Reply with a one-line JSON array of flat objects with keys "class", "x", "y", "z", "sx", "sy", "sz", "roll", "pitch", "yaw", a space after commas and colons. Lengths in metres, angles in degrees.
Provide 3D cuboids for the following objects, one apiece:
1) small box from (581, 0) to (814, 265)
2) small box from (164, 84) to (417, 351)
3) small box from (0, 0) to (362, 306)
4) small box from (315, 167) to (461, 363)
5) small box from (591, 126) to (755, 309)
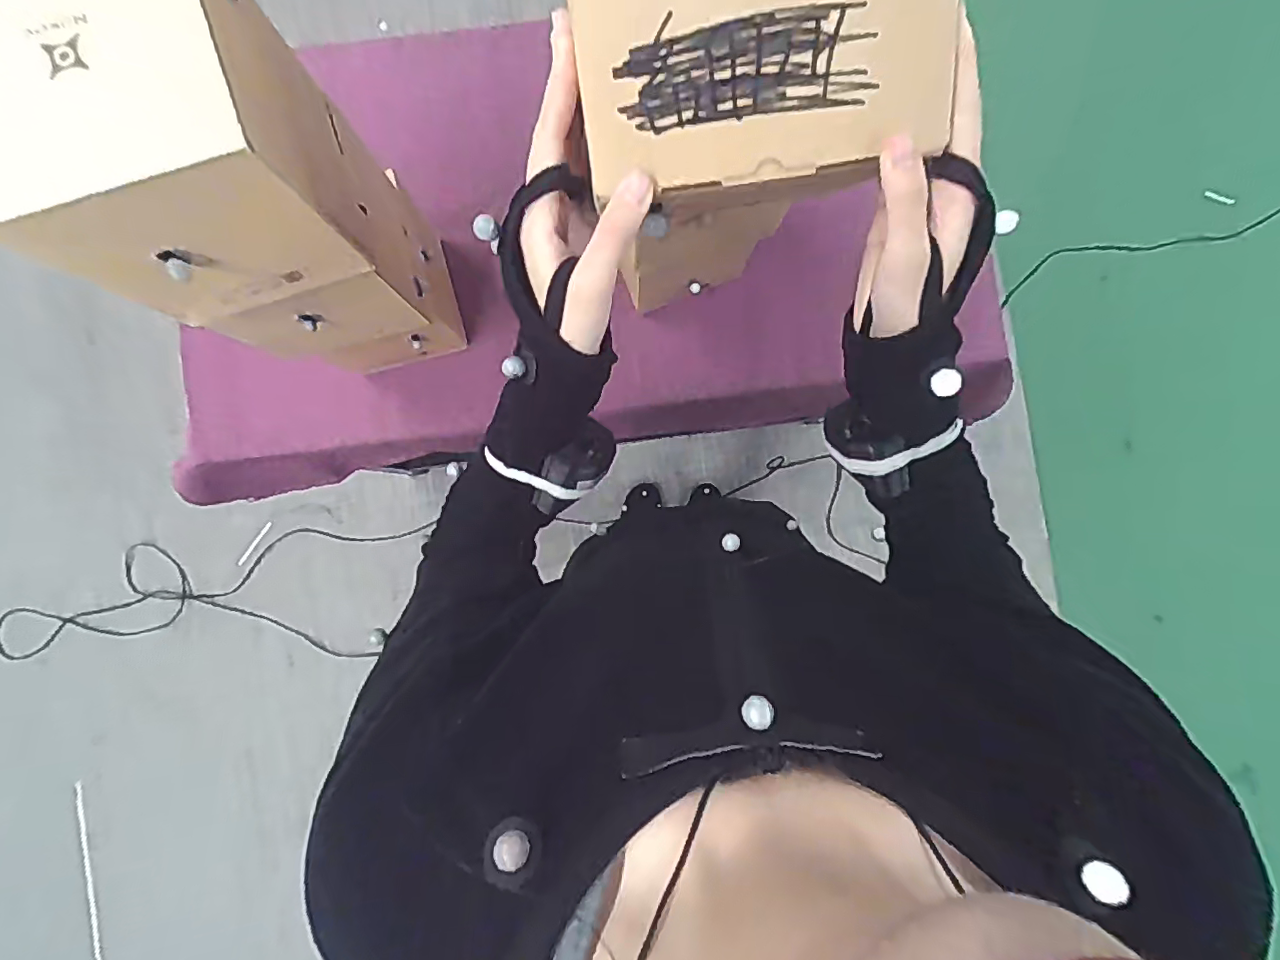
[{"class": "small box", "x": 0.051, "y": -0.348, "z": 0.558, "sx": 0.179, "sy": 0.176, "sz": 0.168, "roll": -15, "pitch": 88, "yaw": -1}, {"class": "small box", "x": -0.348, "y": -0.247, "z": 0.549, "sx": 0.179, "sy": 0.176, "sz": 0.168, "roll": -15, "pitch": 88, "yaw": -2}, {"class": "small box", "x": -0.333, "y": -0.243, "z": 0.386, "sx": 0.168, "sy": 0.176, "sz": 0.179, "roll": -18, "pitch": 87, "yaw": -3}, {"class": "small box", "x": -0.353, "y": -0.265, "z": 0.713, "sx": 0.168, "sy": 0.176, "sz": 0.179, "roll": -14, "pitch": 87, "yaw": -3}, {"class": "small box", "x": 0.041, "y": -0.360, "z": 0.723, "sx": 0.168, "sy": 0.176, "sz": 0.179, "roll": -20, "pitch": 88, "yaw": -1}]
